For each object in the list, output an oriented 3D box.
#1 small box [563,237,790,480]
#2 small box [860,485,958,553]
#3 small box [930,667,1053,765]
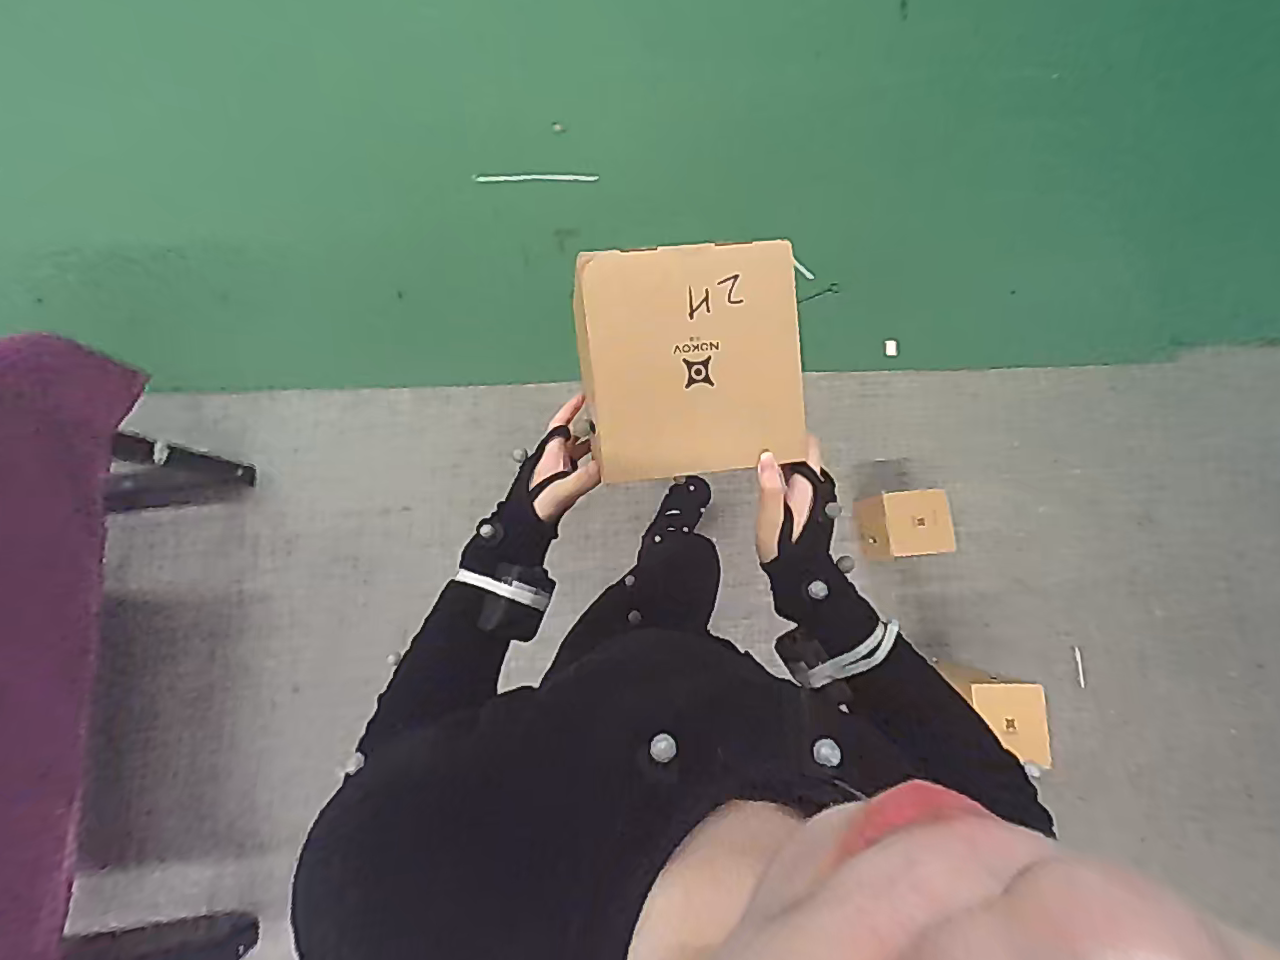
[{"bbox_3d":[0.022,-0.101,0.498,0.168,0.176,0.179,-8,95,-8],"label":"small box"},{"bbox_3d":[0.711,0.109,1.453,0.179,0.176,0.168,-4,82,-4],"label":"small box"},{"bbox_3d":[0.784,0.526,1.225,0.168,0.176,0.179,1,81,-3],"label":"small box"}]
